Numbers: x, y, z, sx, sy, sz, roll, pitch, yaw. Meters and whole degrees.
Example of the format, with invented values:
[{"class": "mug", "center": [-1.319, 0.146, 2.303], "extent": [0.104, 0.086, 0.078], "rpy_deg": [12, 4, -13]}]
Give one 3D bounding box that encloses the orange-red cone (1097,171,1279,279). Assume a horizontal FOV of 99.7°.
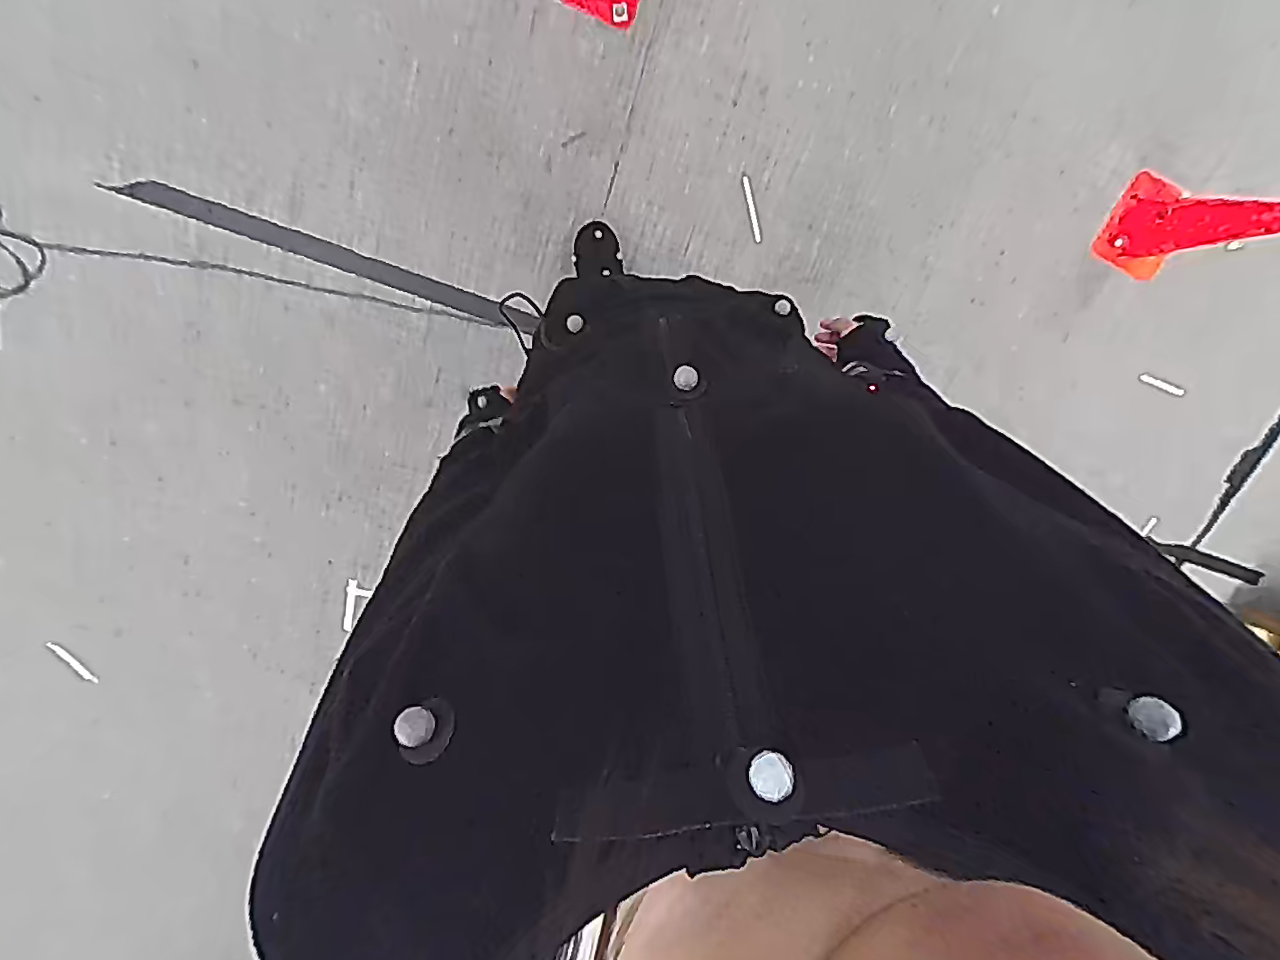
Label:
[{"class": "orange-red cone", "center": [1.255, -0.554, 1.160], "extent": [0.199, 0.360, 0.198], "rpy_deg": [19, 109, -13]}]
